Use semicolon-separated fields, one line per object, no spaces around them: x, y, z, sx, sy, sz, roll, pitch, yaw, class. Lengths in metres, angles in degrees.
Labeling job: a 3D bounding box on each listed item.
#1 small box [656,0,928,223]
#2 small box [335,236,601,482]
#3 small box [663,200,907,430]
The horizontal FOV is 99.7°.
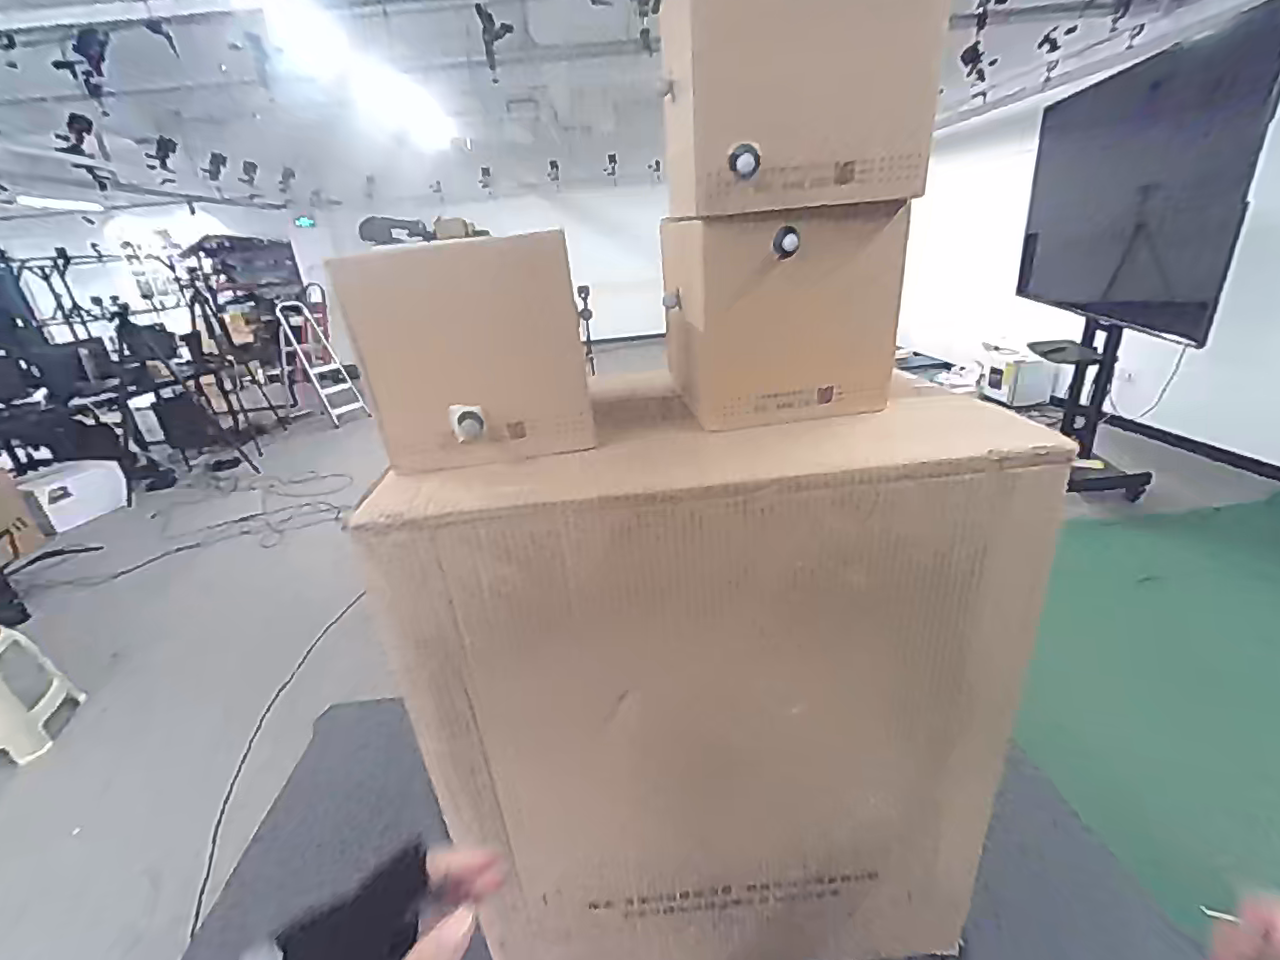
0.106;-0.300;0.426;0.168;0.176;0.179;-6;25;-1;small box
-0.132;-0.115;0.484;0.168;0.176;0.179;-11;27;-3;small box
0.118;-0.156;0.508;0.168;0.176;0.179;-9;25;-4;small box
